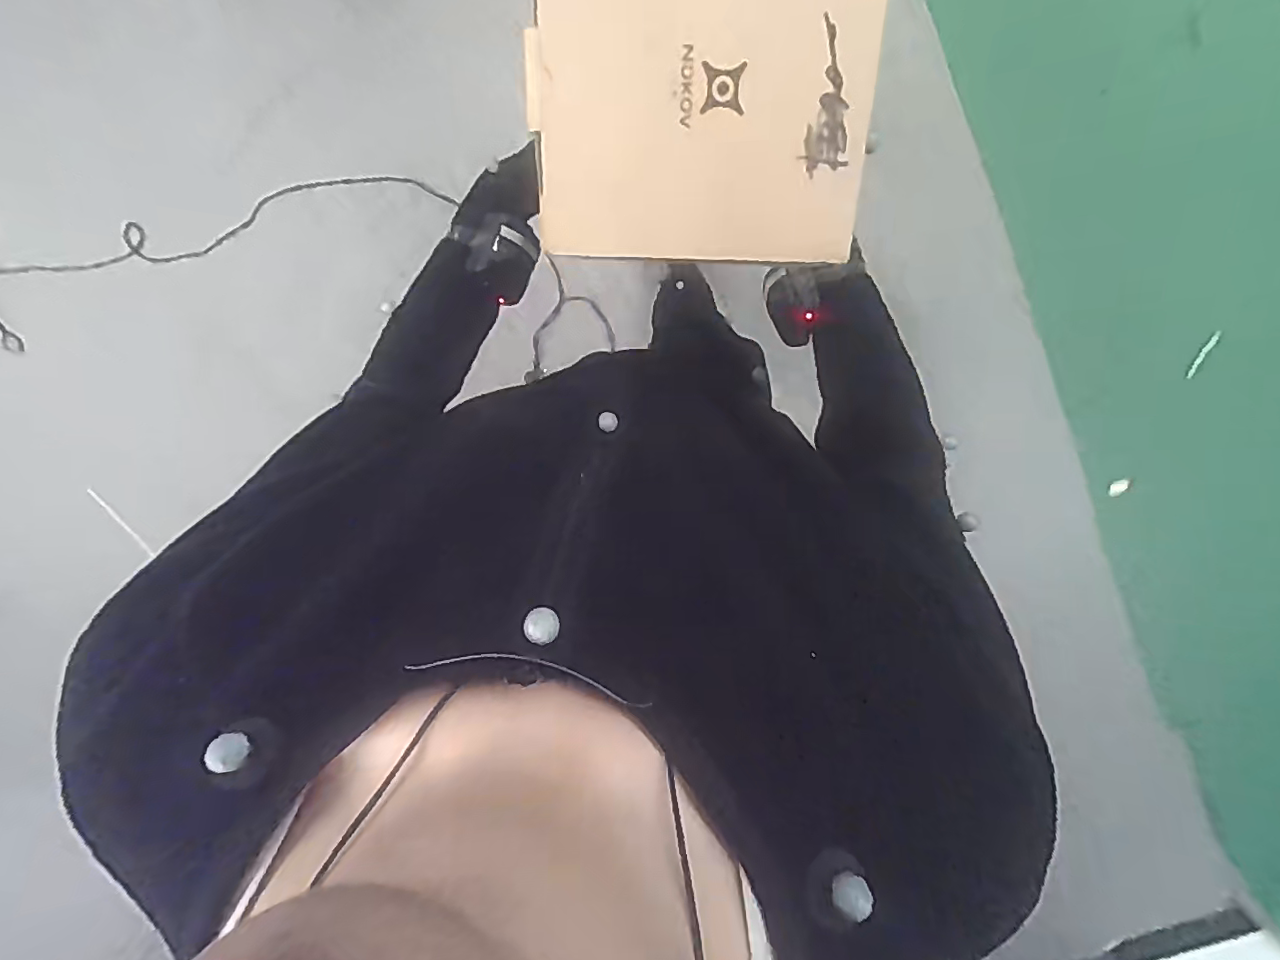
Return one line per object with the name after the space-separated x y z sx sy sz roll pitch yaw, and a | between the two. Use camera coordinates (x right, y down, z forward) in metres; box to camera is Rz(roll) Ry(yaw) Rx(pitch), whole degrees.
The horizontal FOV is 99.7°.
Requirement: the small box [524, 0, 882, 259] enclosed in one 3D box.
0.030 -0.235 0.347 0.179 0.176 0.168 1 111 -1 | small box
